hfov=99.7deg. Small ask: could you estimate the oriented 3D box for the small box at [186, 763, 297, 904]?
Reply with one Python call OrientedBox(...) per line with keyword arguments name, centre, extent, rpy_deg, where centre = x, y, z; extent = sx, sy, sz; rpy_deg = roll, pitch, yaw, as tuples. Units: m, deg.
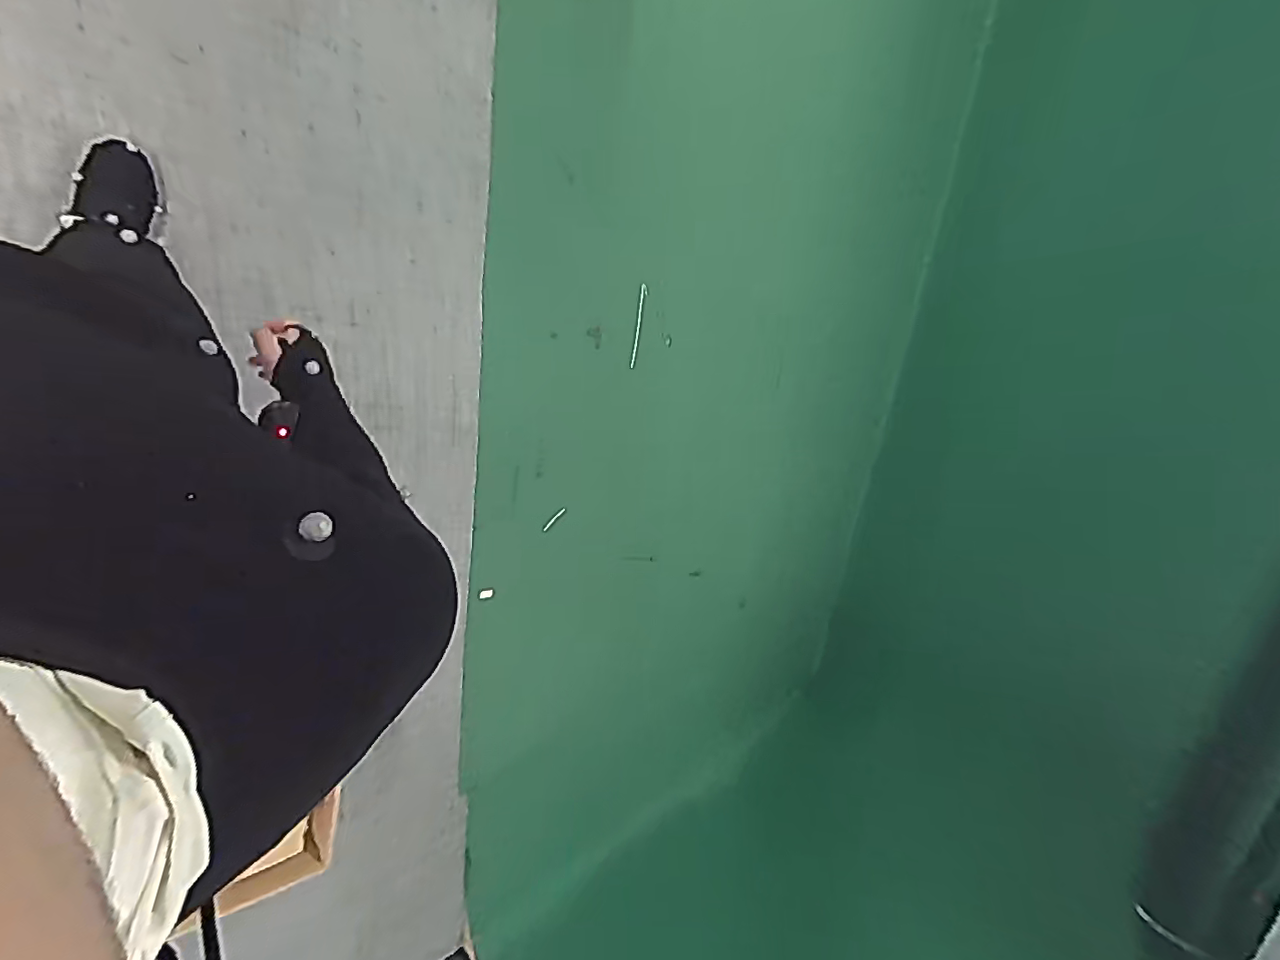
OrientedBox(name="small box", centre=(-0.905, 0.786, 1.227), extent=(0.179, 0.176, 0.168), rpy_deg=(-2, 109, -45))
